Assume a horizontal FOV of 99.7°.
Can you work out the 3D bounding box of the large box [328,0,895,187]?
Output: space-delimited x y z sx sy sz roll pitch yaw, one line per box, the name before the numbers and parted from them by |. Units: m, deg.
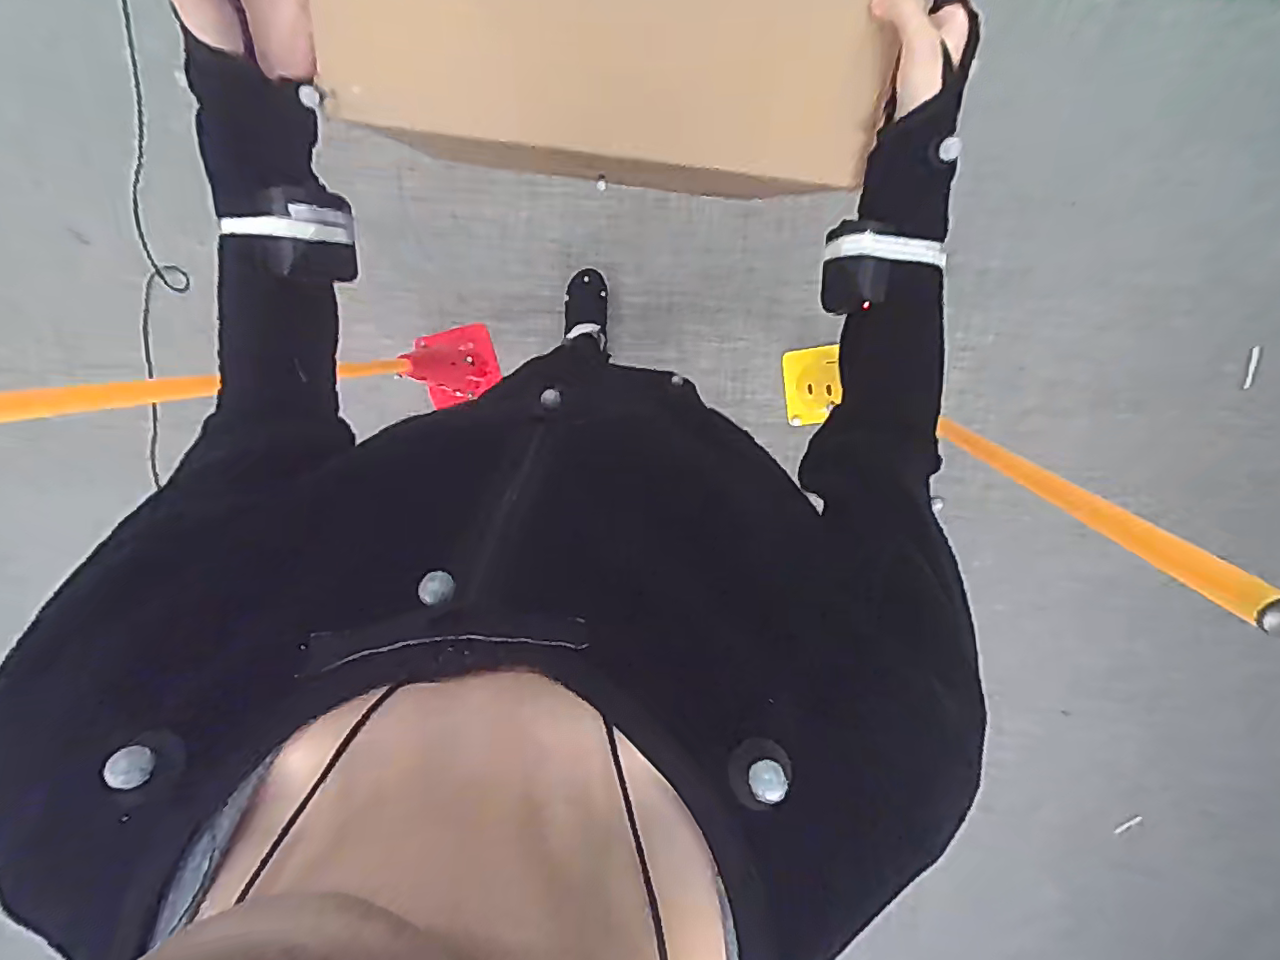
large box | -0.018 -0.457 0.485 0.408 0.320 0.320 3 115 -8
